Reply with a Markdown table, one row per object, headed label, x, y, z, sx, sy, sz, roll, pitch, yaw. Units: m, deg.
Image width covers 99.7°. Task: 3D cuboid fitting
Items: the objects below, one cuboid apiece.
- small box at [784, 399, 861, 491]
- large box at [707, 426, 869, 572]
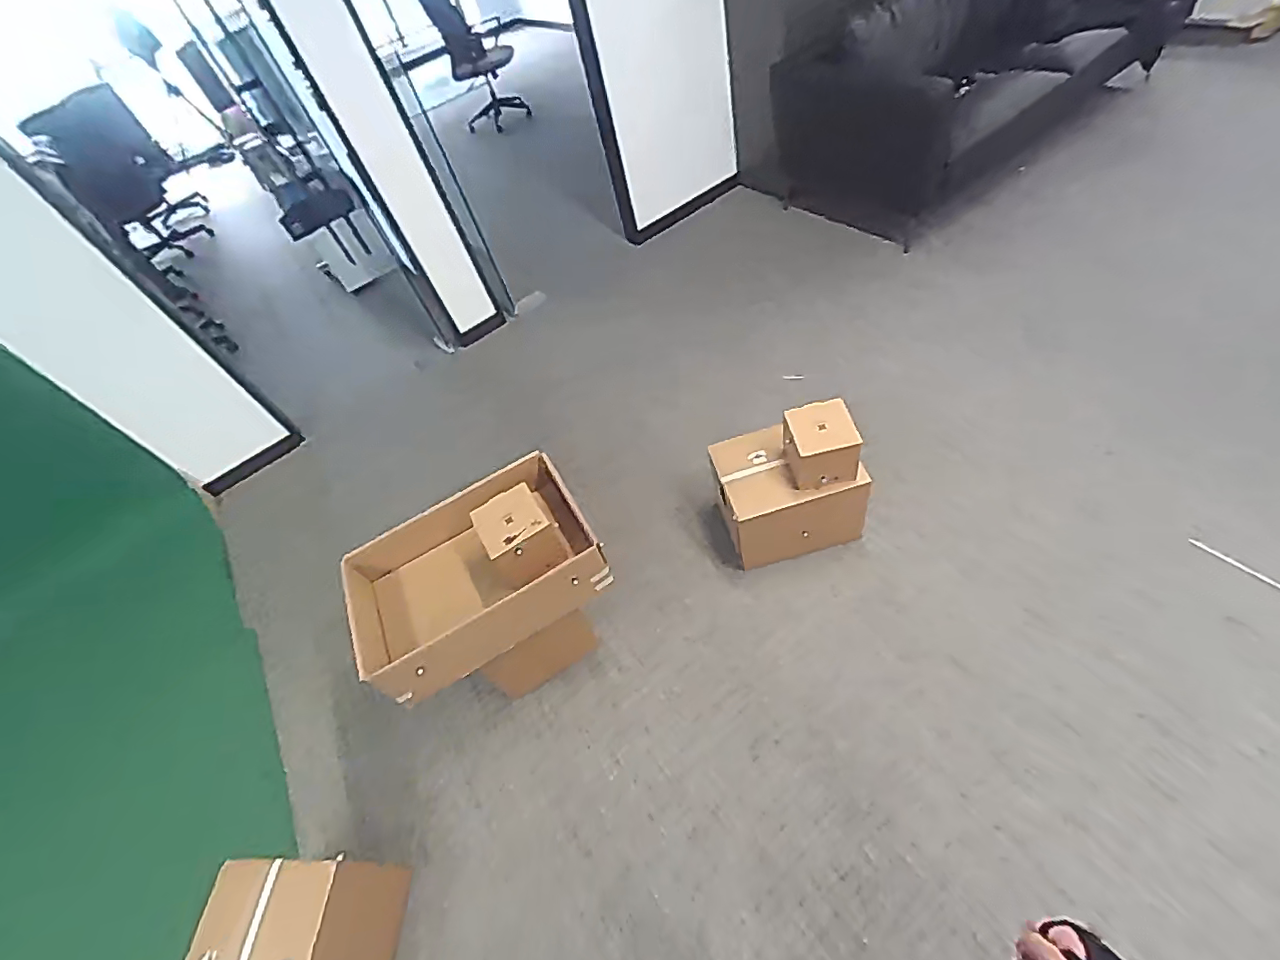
| label | x | y | z | sx | sy | sz | roll | pitch | yaw |
| --- | --- | --- | --- | --- | --- | --- | --- | --- | --- |
| small box | 0.508 | -0.097 | 1.533 | 0.168 | 0.176 | 0.179 | -13 | 52 | 6 |
| large box | 0.466 | 0.048 | 1.751 | 0.408 | 0.320 | 0.320 | -18 | 50 | 2 |
